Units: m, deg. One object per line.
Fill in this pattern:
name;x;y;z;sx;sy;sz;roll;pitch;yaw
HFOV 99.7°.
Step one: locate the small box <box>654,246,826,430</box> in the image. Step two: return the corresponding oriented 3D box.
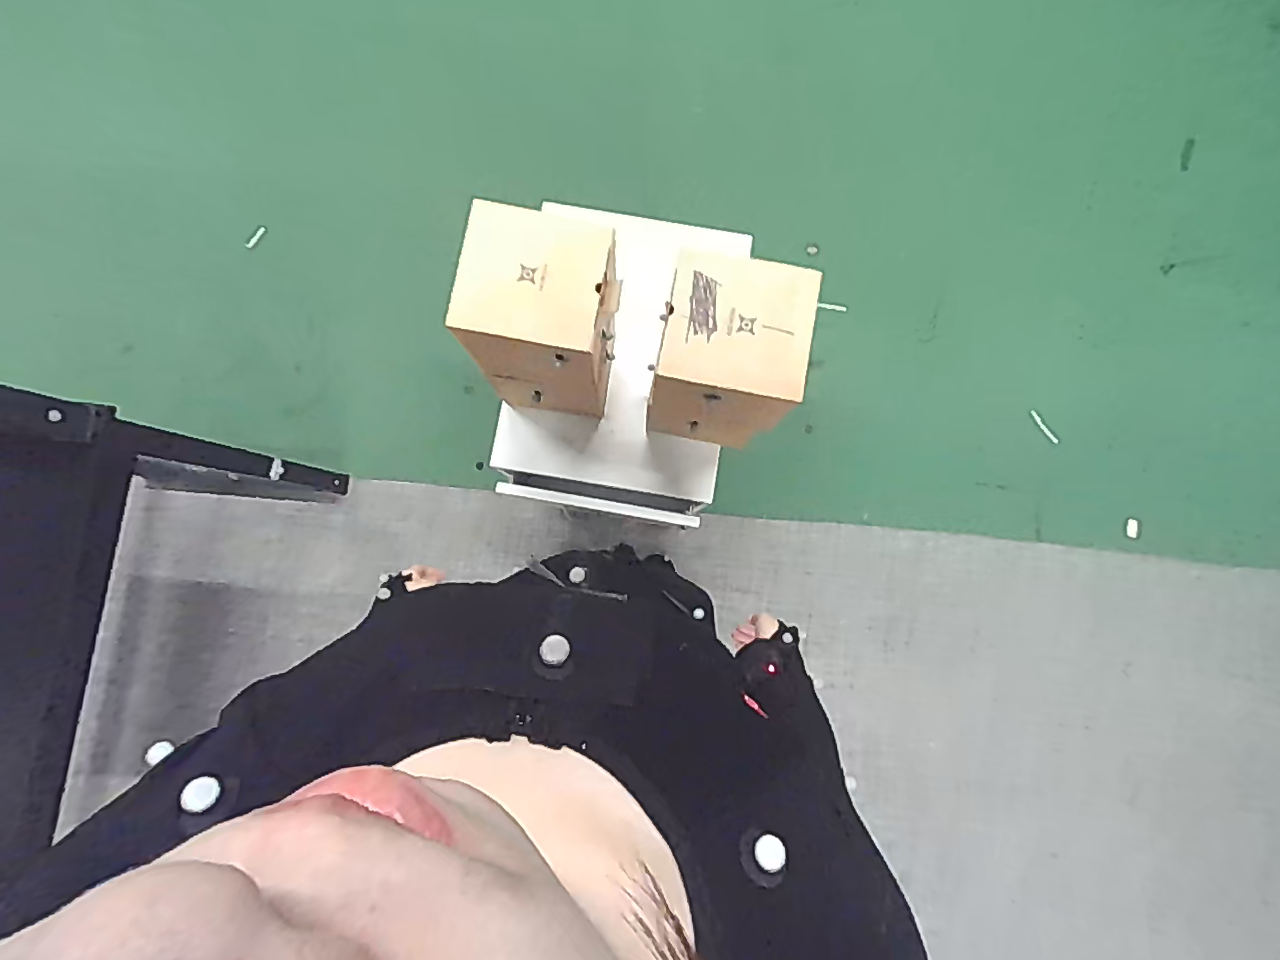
small box;0.118;-0.172;0.706;0.179;0.176;0.168;11;84;0
